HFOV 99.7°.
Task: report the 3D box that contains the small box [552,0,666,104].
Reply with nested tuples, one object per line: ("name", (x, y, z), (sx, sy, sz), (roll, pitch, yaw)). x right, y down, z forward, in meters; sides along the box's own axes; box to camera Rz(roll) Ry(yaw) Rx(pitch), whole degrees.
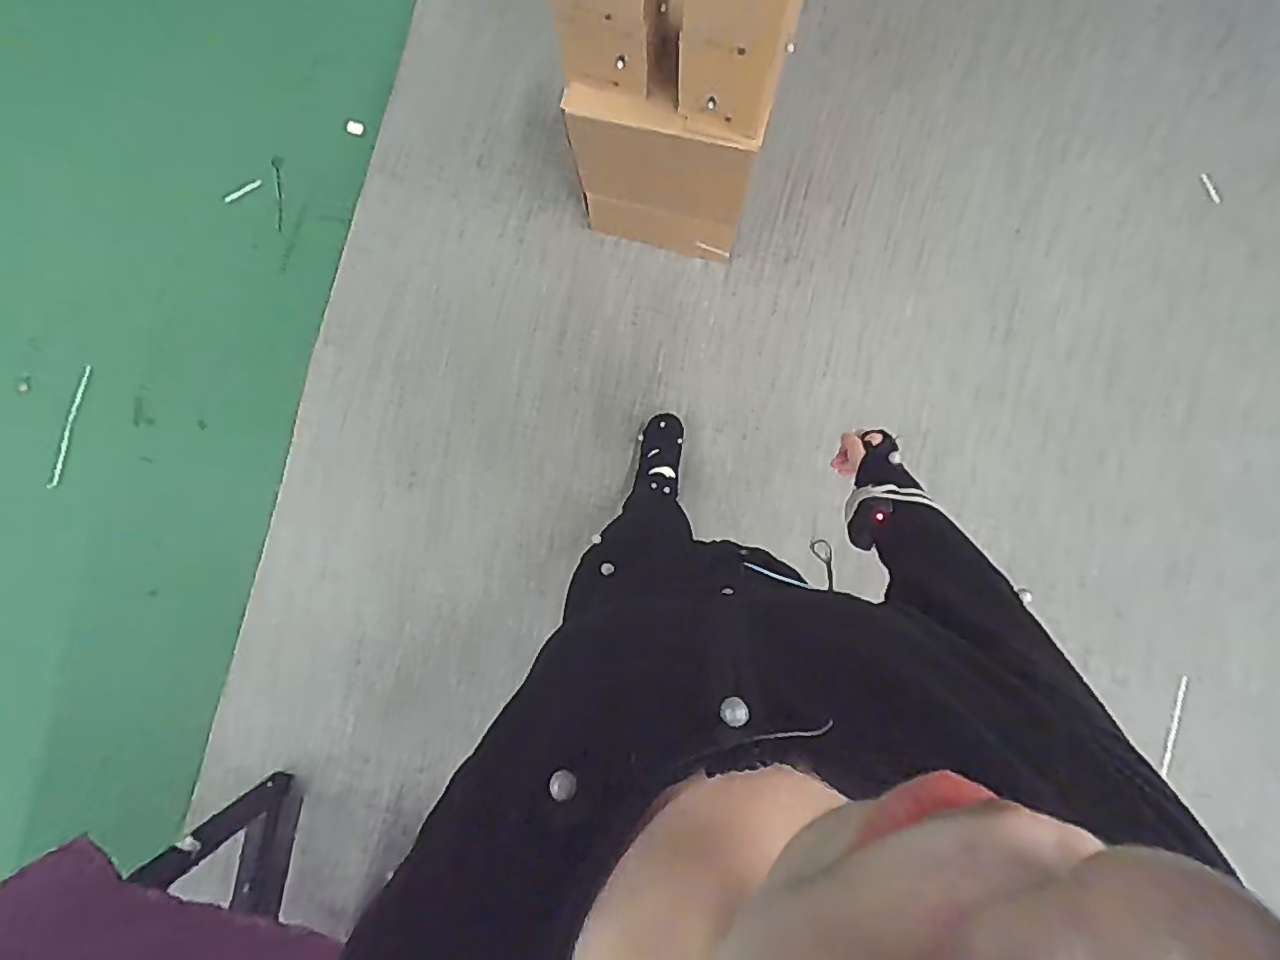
("small box", (-0.048, -0.847, 1.000), (0.168, 0.176, 0.179), (16, 88, 1))

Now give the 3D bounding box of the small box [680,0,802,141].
("small box", (0.174, -0.773, 0.985), (0.168, 0.176, 0.179), (21, 89, 5))
